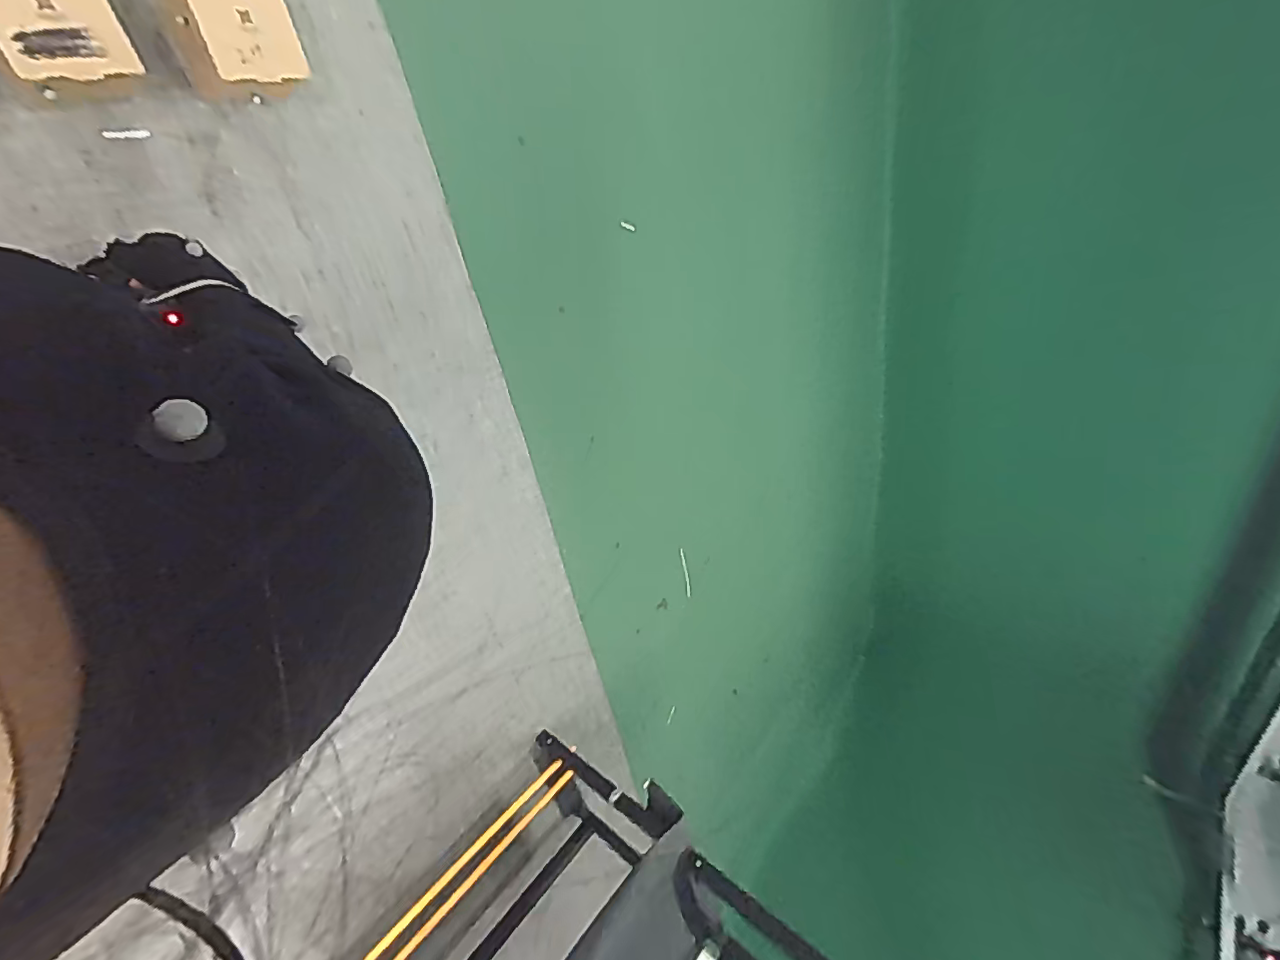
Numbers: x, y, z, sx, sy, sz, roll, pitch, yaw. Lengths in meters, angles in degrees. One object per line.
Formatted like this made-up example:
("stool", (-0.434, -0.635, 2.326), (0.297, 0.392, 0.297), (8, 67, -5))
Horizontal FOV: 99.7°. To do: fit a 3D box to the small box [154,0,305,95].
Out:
("small box", (-0.795, -0.870, 1.043), (0.168, 0.176, 0.179), (-35, 127, -37))
